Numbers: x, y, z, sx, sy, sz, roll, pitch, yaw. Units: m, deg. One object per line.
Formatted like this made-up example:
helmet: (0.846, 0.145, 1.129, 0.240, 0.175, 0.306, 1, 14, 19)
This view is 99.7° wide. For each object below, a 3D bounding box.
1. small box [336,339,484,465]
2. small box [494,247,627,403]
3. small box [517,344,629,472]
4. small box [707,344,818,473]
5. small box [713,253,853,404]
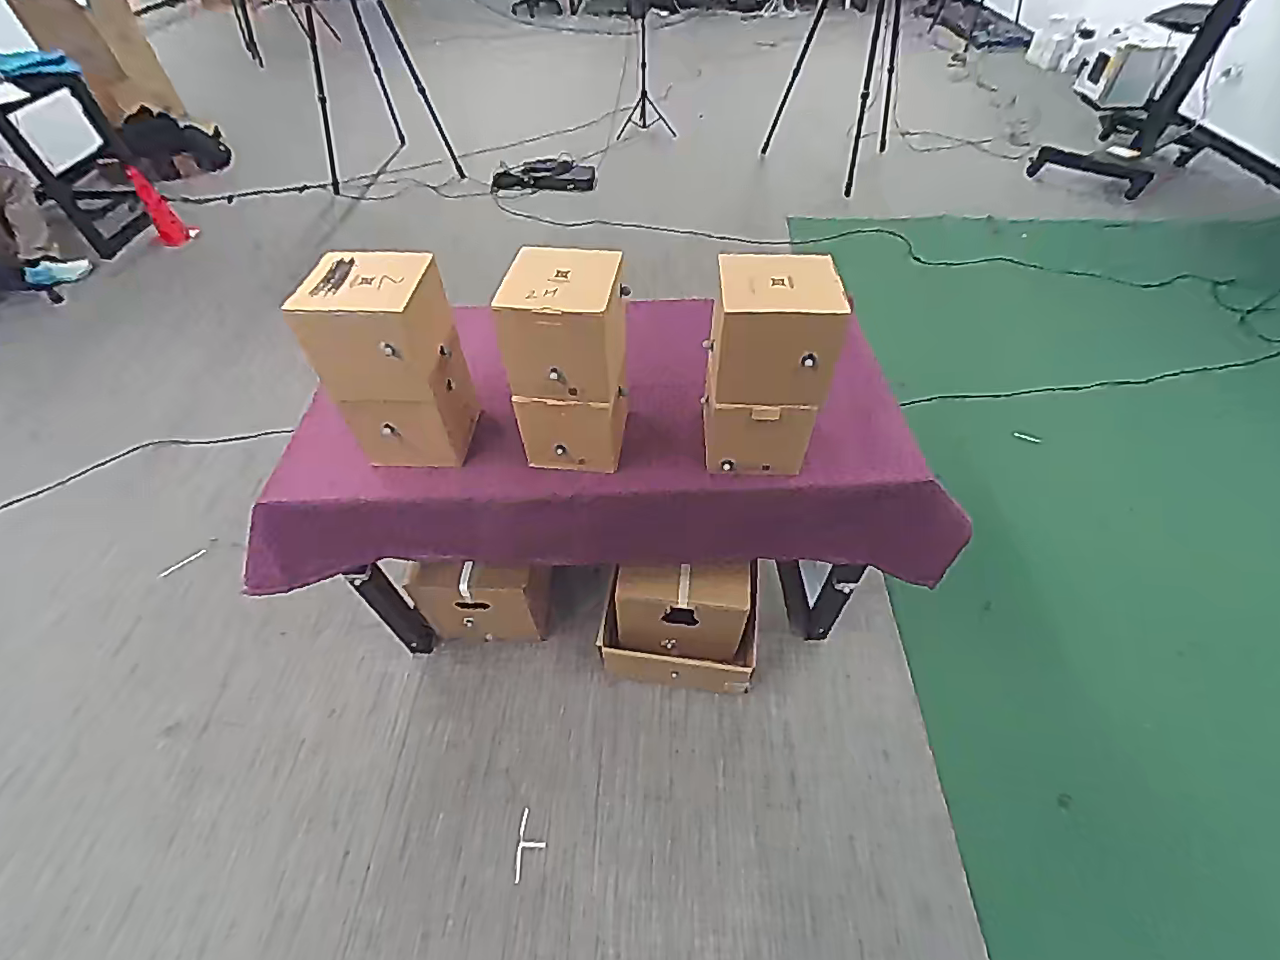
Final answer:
small box: (-0.410, -0.141, 0.997, 0.179, 0.176, 0.168, 1, 51, 3)
small box: (-0.113, -0.249, 0.868, 0.168, 0.176, 0.179, 5, 52, 6)
small box: (-0.112, -0.139, 0.991, 0.168, 0.176, 0.179, 5, 52, 5)
small box: (0.209, -0.128, 0.971, 0.168, 0.176, 0.179, 1, 49, 3)
small box: (0.209, -0.234, 0.846, 0.179, 0.176, 0.168, 1, 50, 4)
